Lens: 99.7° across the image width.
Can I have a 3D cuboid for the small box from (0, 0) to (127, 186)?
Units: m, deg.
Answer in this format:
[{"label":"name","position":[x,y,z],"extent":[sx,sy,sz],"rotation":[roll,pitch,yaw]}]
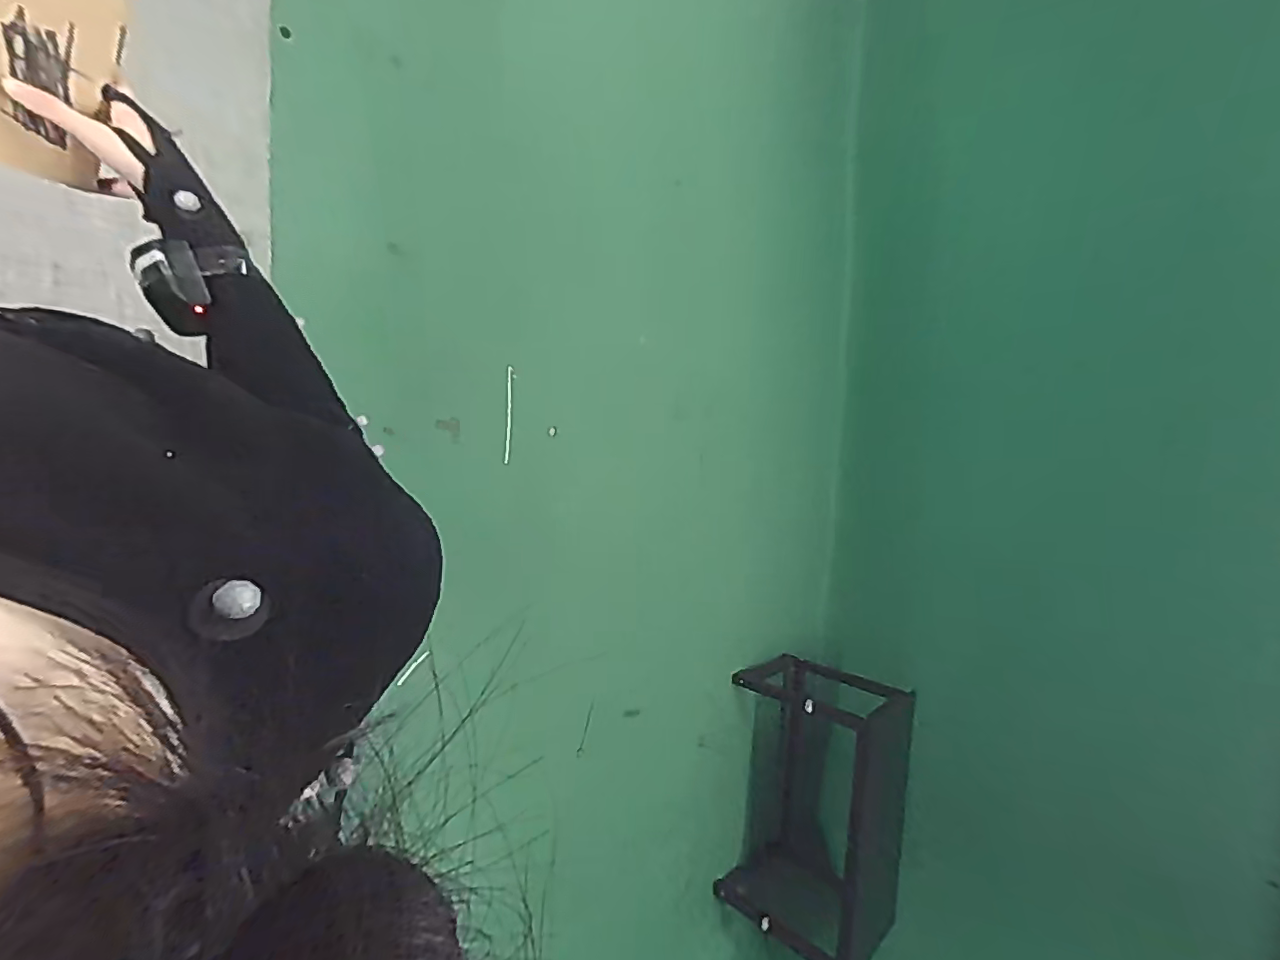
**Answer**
[{"label":"small box","position":[-0.525,-0.354,0.383],"extent":[0.168,0.176,0.179],"rotation":[-59,159,19]}]
